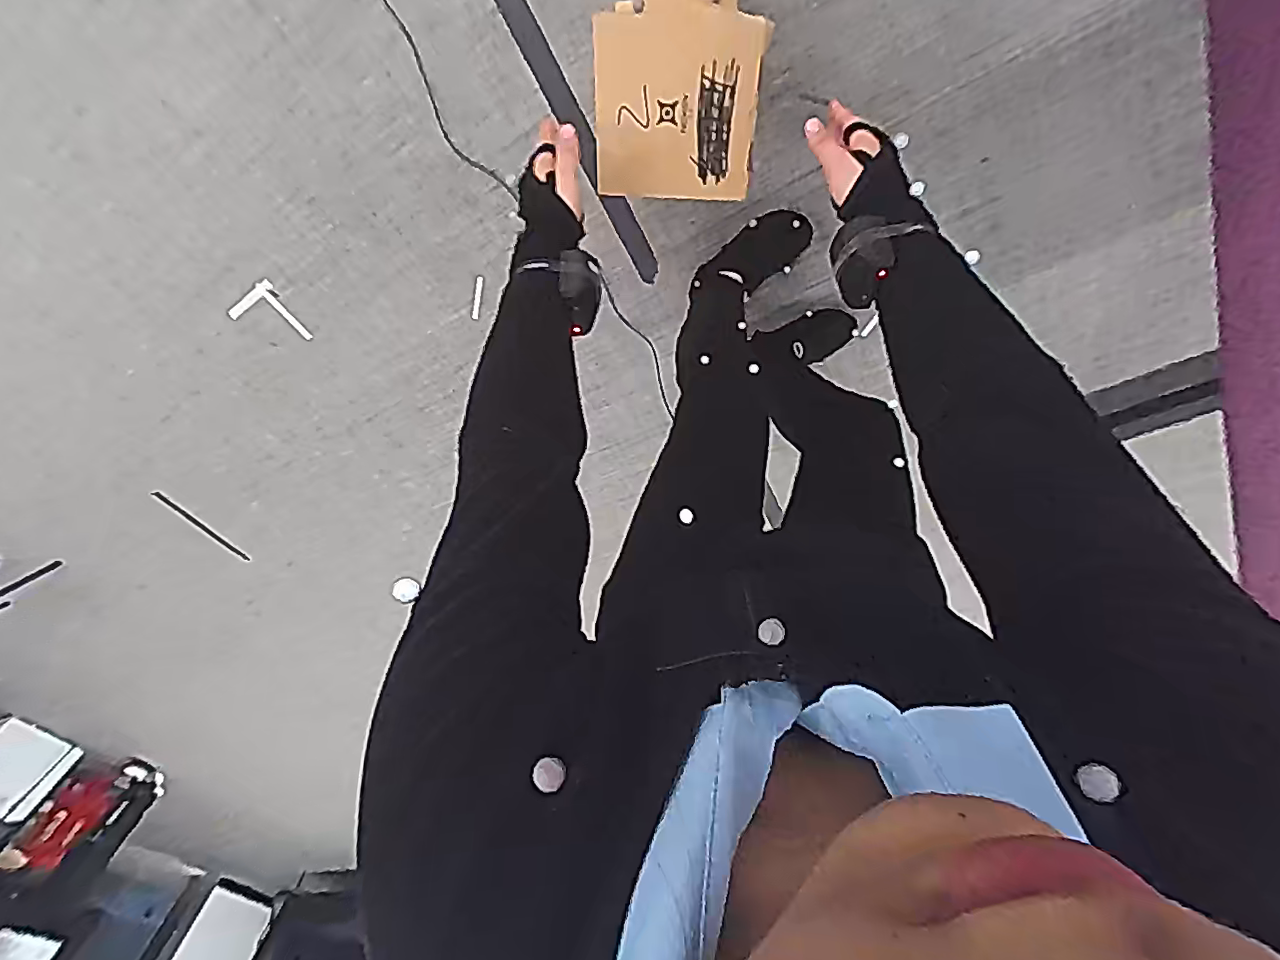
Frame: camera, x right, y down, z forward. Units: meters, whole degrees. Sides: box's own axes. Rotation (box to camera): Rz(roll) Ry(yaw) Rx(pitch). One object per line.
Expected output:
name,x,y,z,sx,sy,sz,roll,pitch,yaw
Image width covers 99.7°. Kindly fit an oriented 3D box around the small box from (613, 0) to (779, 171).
small box,0.073,-0.559,0.754,0.179,0.176,0.168,14,129,-4
